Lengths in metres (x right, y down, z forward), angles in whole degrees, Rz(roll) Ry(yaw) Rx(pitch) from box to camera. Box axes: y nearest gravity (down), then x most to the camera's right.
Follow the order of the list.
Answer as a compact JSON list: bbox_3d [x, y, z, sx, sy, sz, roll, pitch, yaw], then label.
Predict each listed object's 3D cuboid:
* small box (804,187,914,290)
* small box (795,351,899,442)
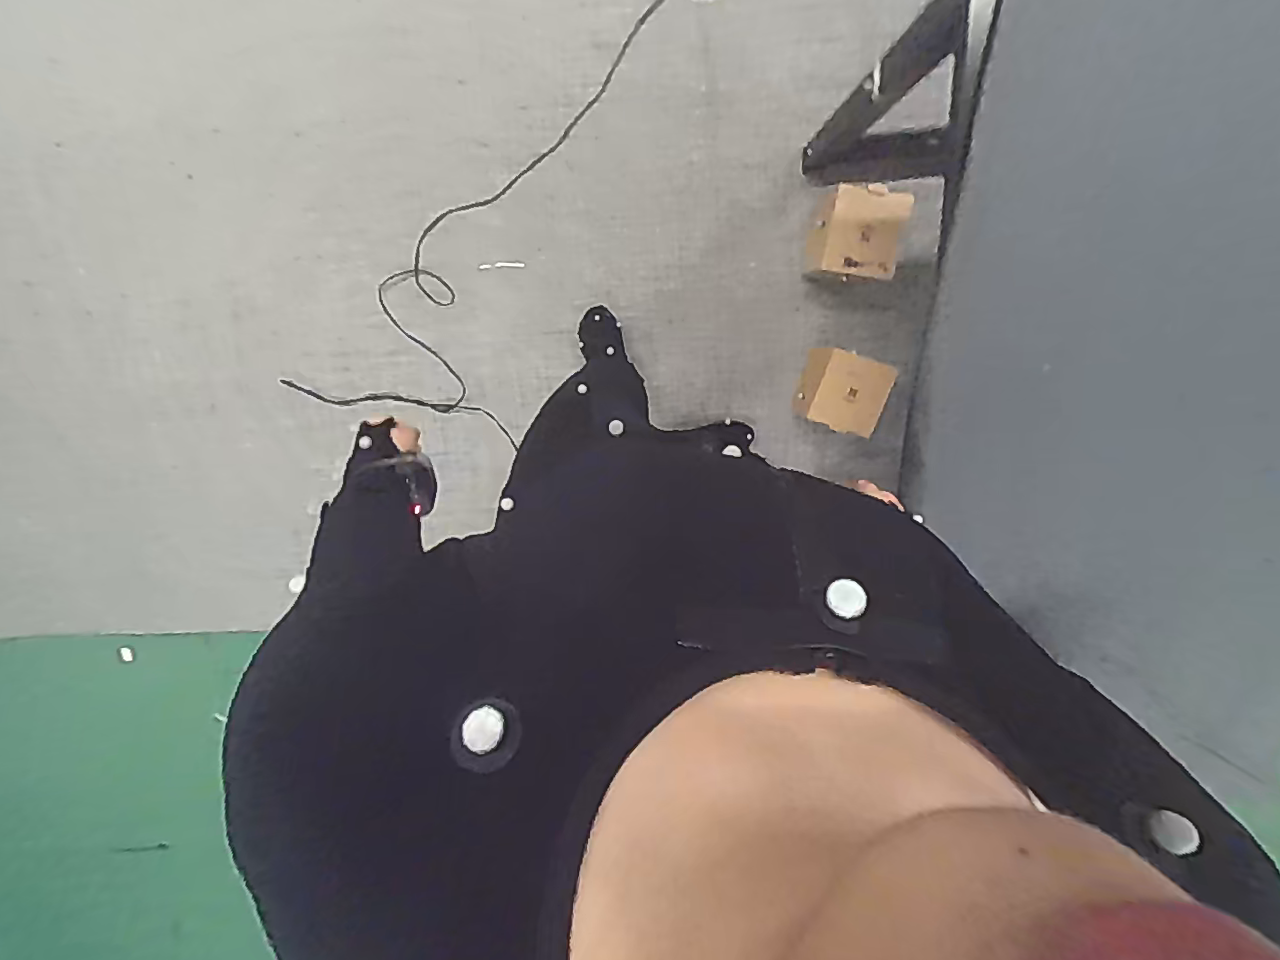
[{"bbox_3d":[0.494,-0.547,1.248,0.168,0.176,0.179,9,105,-1],"label":"small box"},{"bbox_3d":[0.500,-0.213,1.341,0.168,0.176,0.179,16,104,-4],"label":"small box"}]
